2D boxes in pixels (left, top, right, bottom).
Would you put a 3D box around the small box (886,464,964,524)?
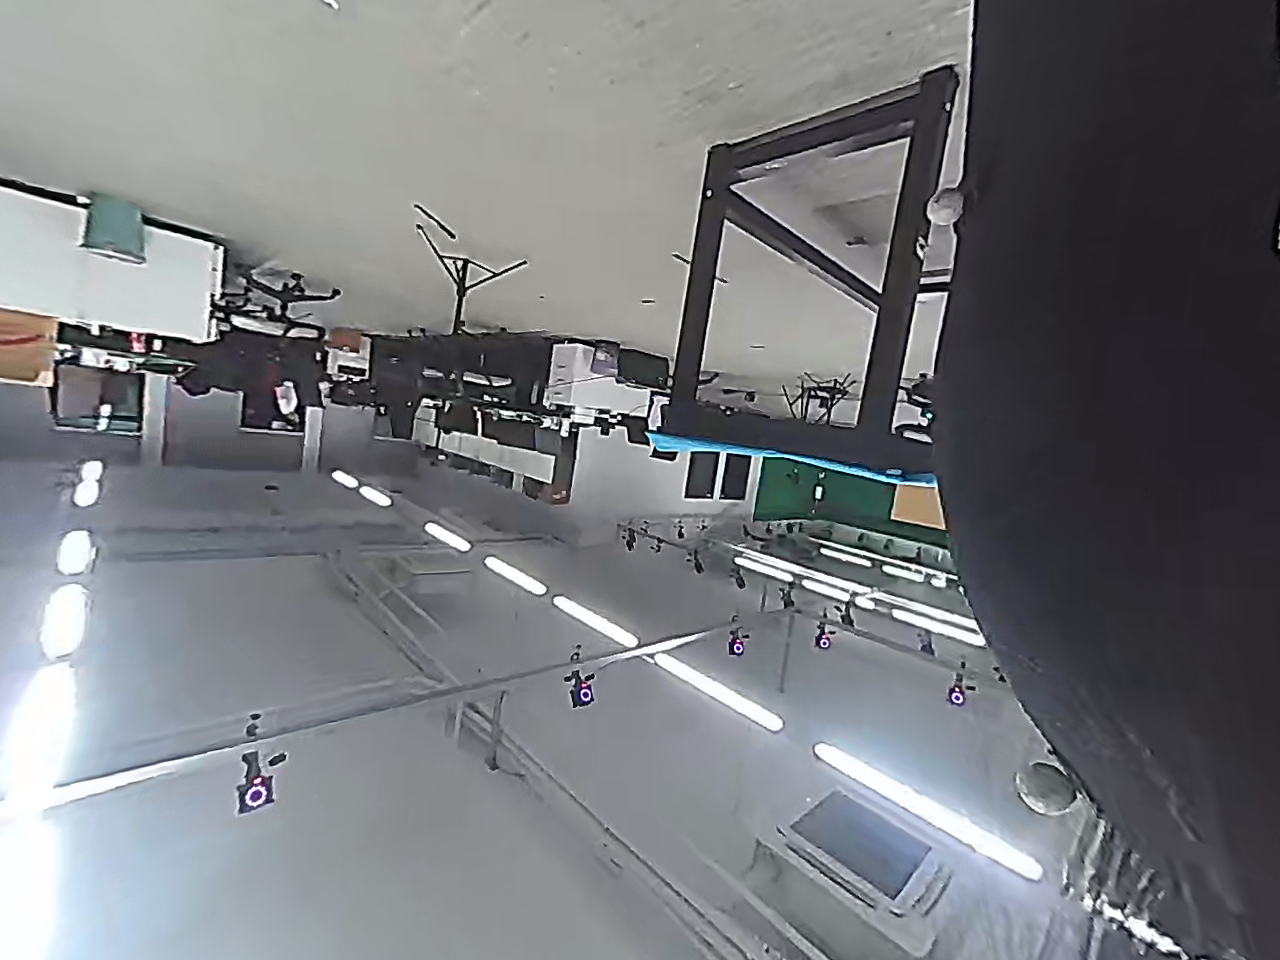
[{"bbox_3d":[0.919,0.045,1.744,0.179,0.176,0.168,12,-174,40],"label":"small box"}]
